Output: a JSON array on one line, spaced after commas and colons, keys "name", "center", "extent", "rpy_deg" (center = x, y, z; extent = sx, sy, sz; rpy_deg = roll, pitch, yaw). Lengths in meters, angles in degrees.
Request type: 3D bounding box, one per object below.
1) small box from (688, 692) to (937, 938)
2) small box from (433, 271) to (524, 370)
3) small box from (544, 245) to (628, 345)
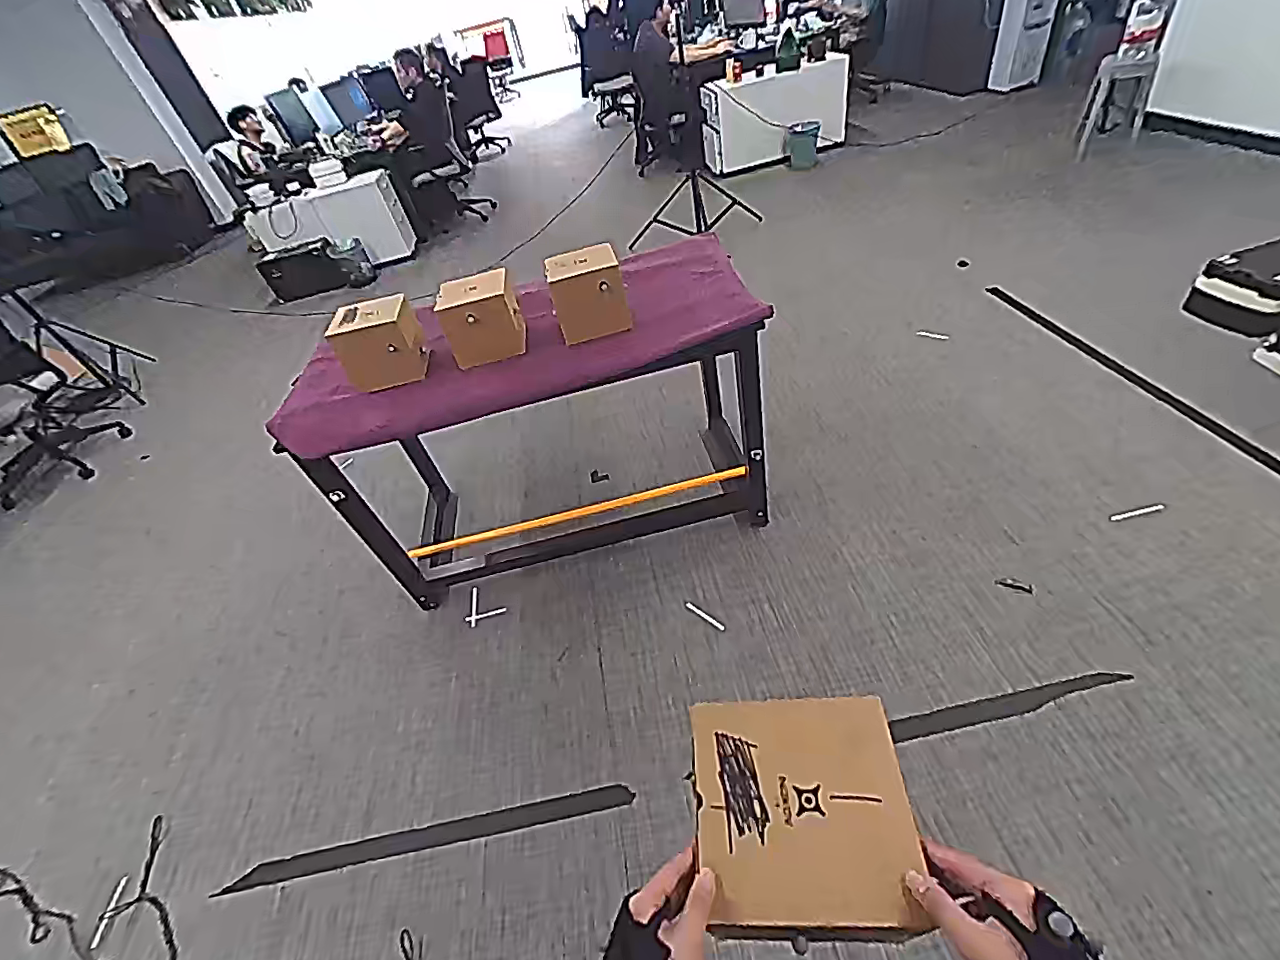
[{"name": "small box", "center": [0.143, 0.314, 0.504], "extent": [0.179, 0.176, 0.168], "rpy_deg": [-6, 47, 8]}, {"name": "small box", "center": [-0.406, -0.410, 1.397], "extent": [0.179, 0.176, 0.168], "rpy_deg": [-15, 43, 1]}, {"name": "small box", "center": [-0.134, -0.468, 1.374], "extent": [0.179, 0.176, 0.168], "rpy_deg": [-16, 41, 0]}]
